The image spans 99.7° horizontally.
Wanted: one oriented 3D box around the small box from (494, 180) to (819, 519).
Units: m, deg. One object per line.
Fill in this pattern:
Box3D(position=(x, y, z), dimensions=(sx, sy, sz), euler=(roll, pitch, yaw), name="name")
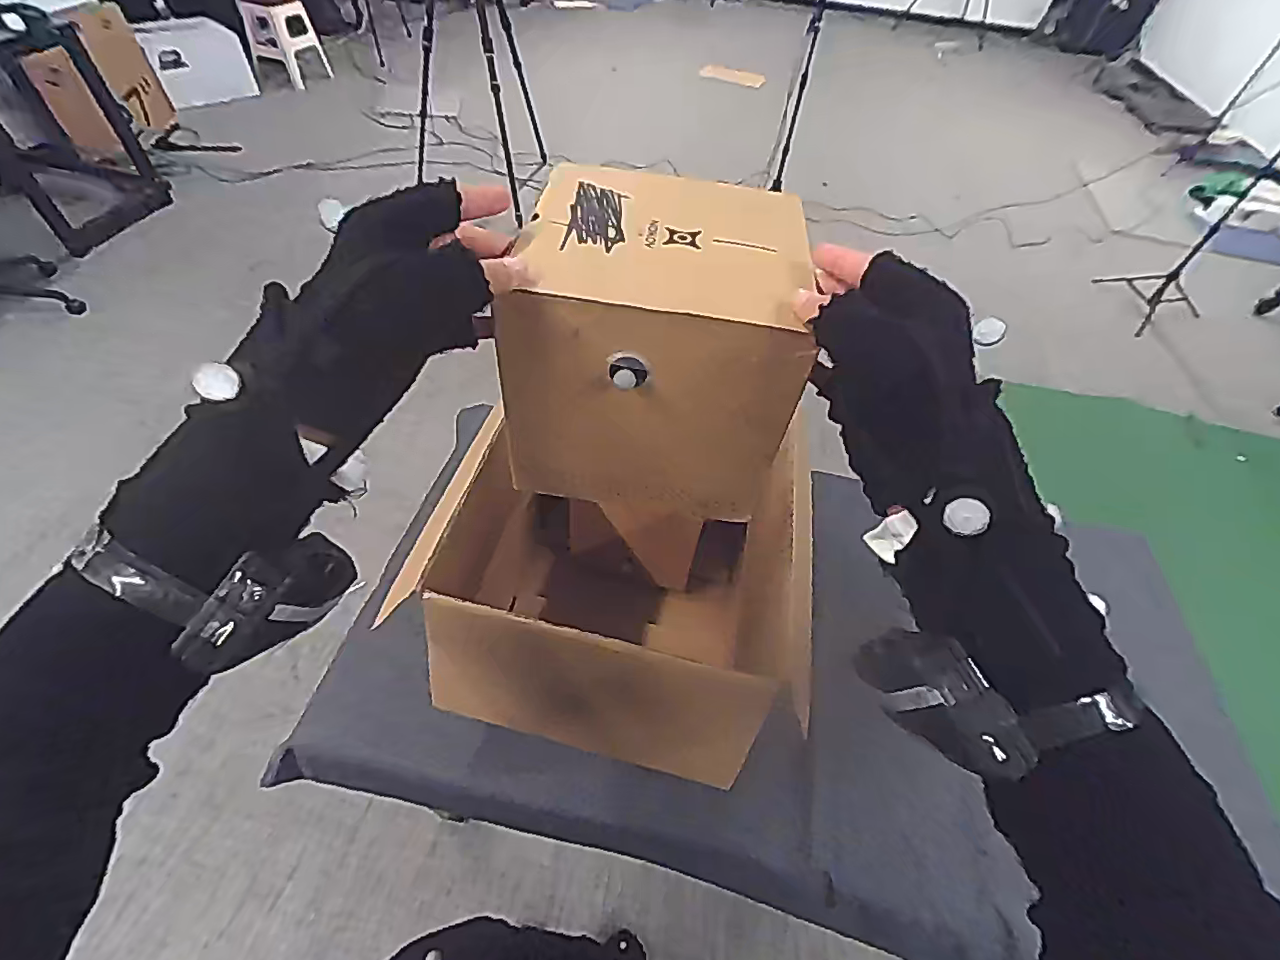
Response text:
Box3D(position=(0.011, -0.089, 0.394), dimensions=(0.179, 0.176, 0.168), euler=(8, 50, 0), name="small box")
